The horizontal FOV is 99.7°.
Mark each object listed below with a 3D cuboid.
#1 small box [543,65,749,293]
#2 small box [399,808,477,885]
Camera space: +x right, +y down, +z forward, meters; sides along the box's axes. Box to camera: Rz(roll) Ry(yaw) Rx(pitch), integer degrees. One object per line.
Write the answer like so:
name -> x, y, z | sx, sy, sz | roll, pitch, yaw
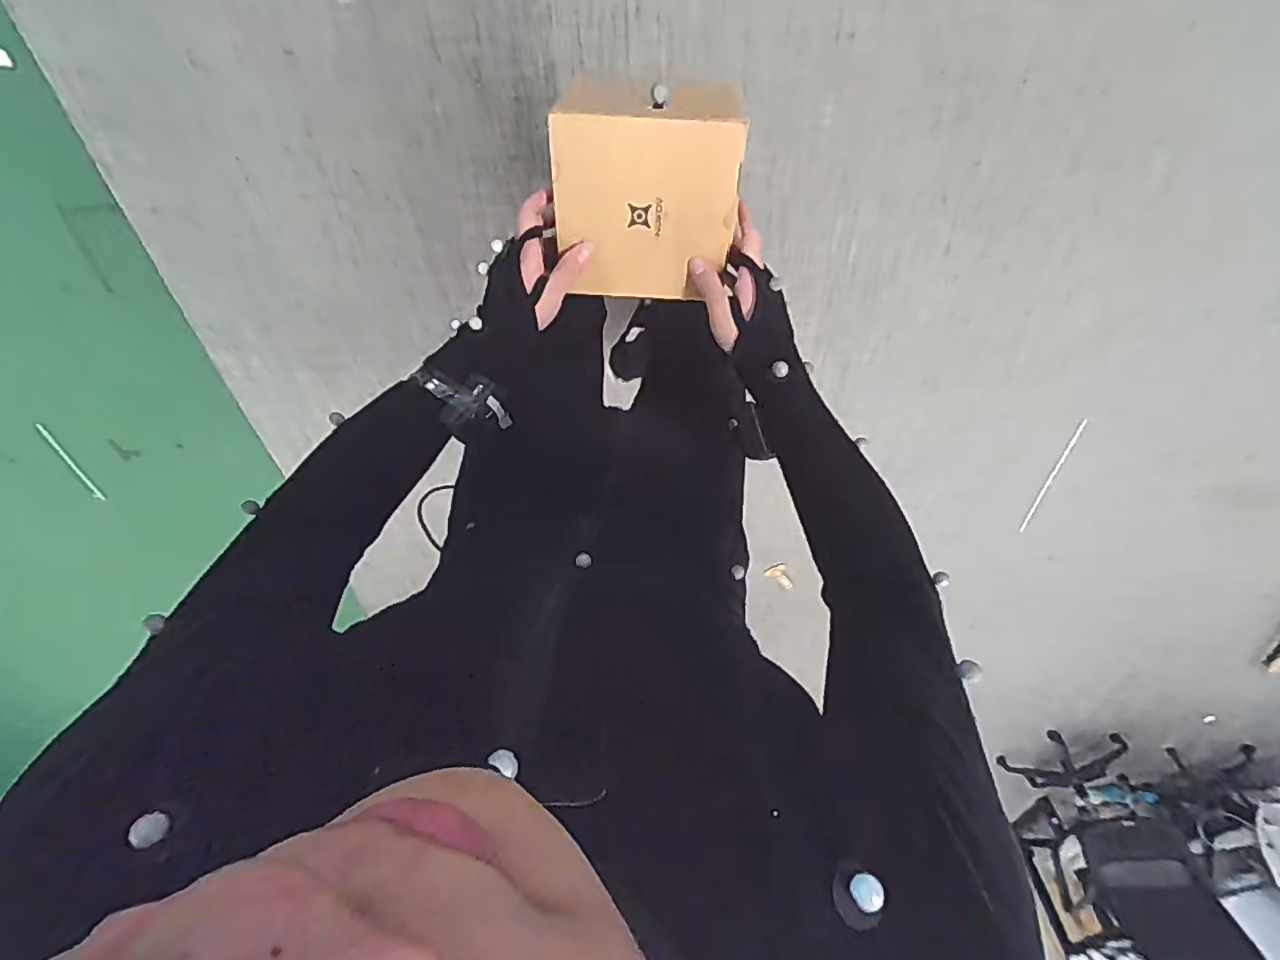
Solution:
small box -> 0.005, -0.315, 0.563 | 0.179, 0.176, 0.168 | 3, 136, 0
small box -> -0.617, 1.137, 1.682 | 0.179, 0.176, 0.168 | -1, 131, 0
